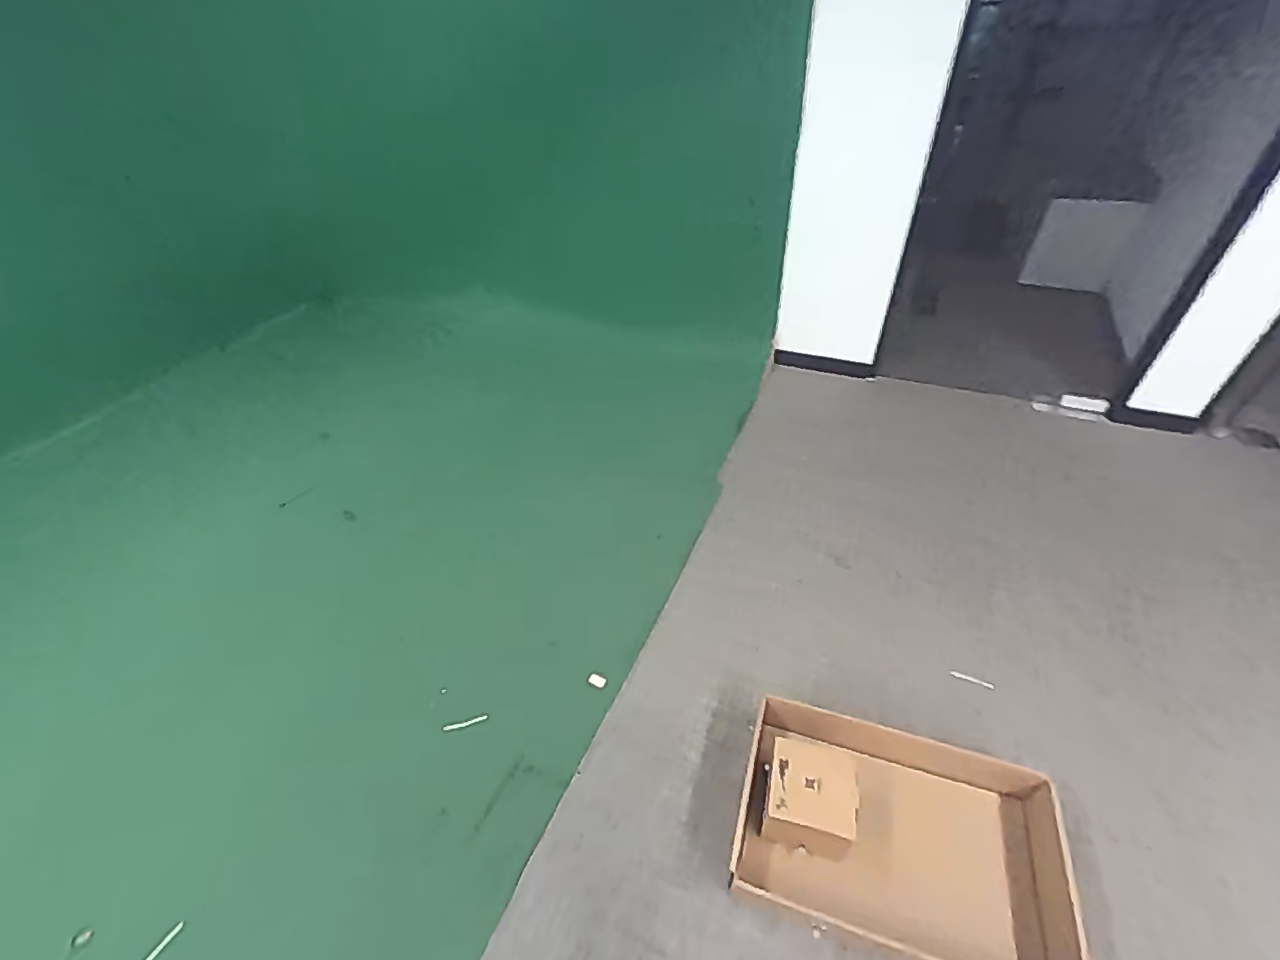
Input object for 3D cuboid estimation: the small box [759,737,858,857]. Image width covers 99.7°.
[{"bbox_3d":[0.369,0.702,1.192,0.179,0.176,0.168,10,44,13],"label":"small box"}]
